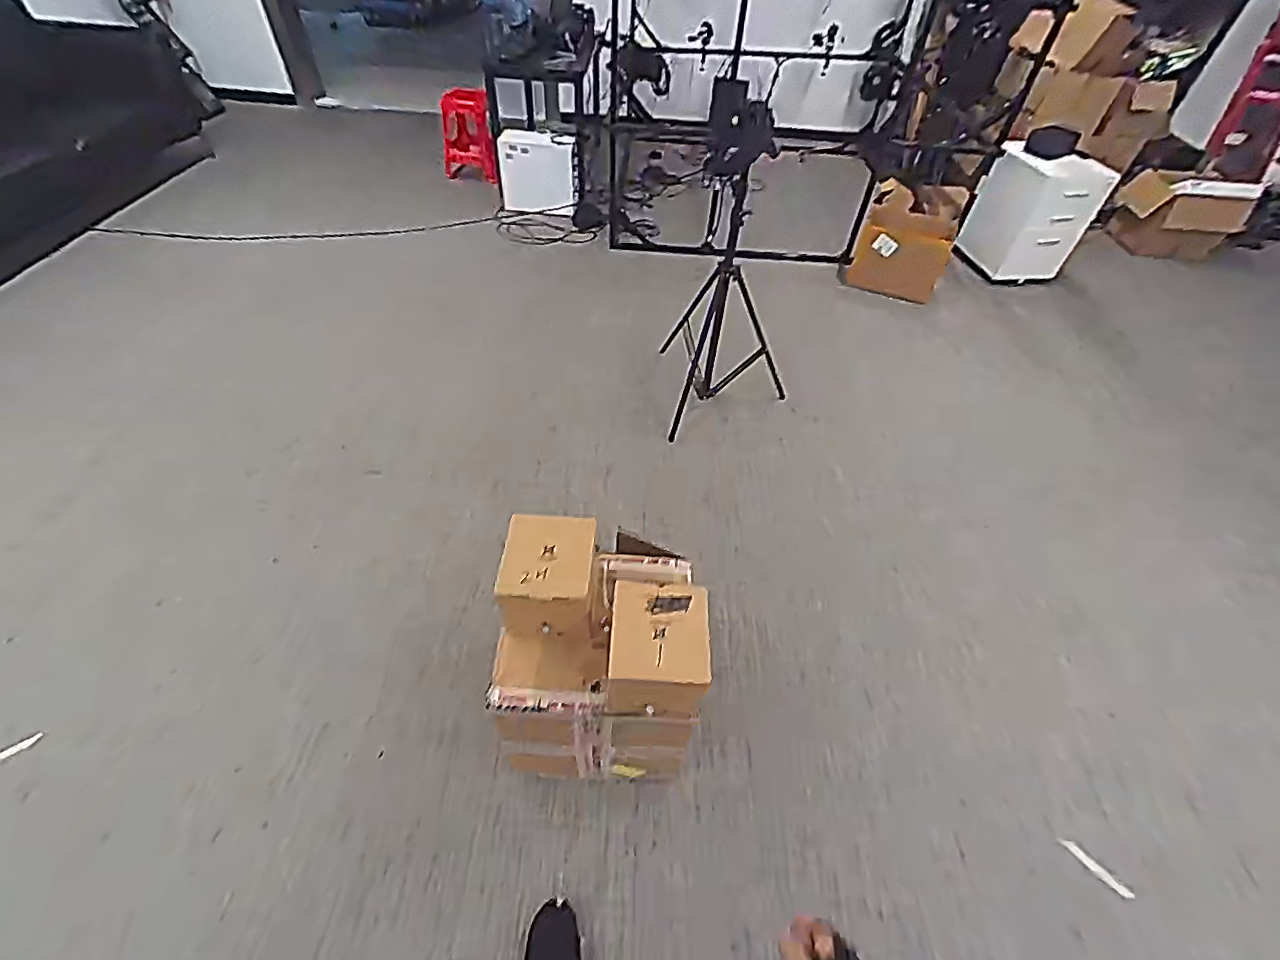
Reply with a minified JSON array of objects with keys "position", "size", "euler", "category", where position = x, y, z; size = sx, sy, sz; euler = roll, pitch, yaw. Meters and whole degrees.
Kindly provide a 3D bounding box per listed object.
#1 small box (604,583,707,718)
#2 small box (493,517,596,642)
[{"position":[0.024,0.308,0.974],"size":[0.168,0.176,0.179],"euler":[4,50,-2],"category":"small box"},{"position":[-0.175,0.195,1.056],"size":[0.168,0.176,0.179],"euler":[3,50,0],"category":"small box"}]
